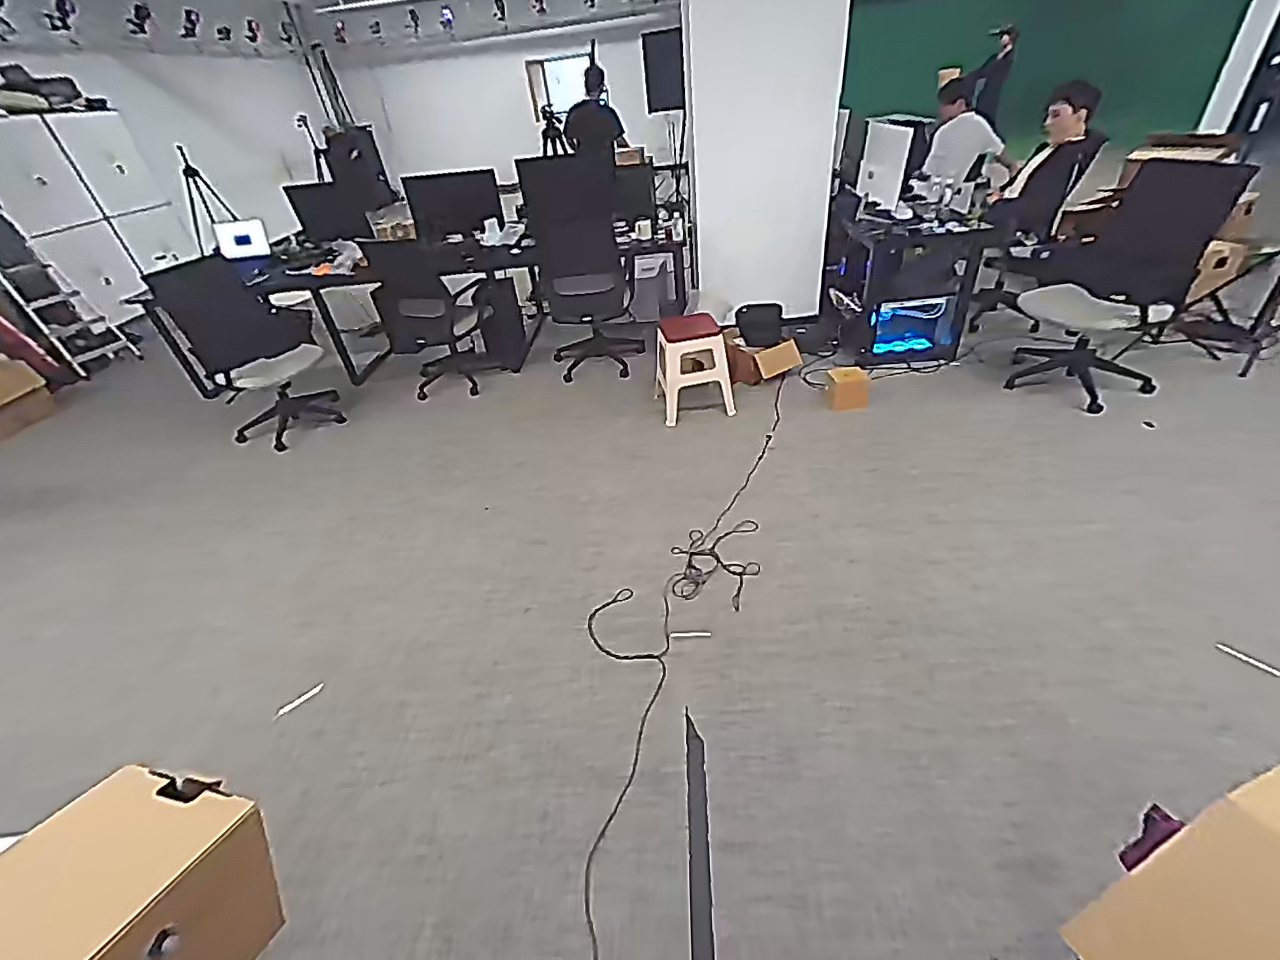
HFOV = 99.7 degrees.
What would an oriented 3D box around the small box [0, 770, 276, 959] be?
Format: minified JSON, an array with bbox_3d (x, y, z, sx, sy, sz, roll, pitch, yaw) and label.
[{"bbox_3d":[-0.465,0.406,0.480,0.168,0.176,0.179,7,17,12],"label":"small box"}]
